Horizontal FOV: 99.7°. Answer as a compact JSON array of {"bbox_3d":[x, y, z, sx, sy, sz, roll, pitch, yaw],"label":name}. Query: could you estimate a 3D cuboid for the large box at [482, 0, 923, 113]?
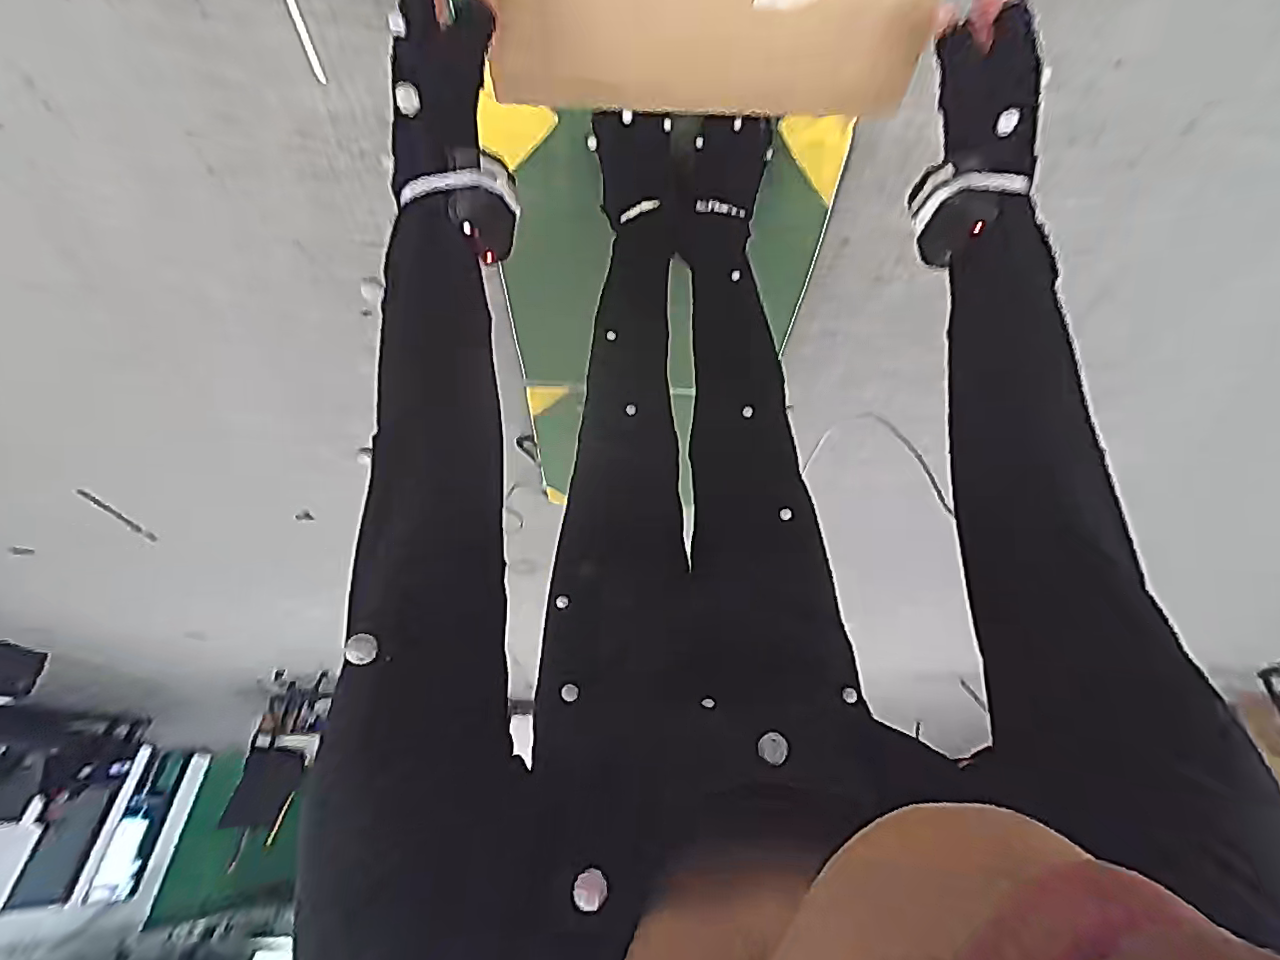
[{"bbox_3d":[0.054,-0.588,0.513,0.408,0.320,0.320,0,147,-1],"label":"large box"}]
